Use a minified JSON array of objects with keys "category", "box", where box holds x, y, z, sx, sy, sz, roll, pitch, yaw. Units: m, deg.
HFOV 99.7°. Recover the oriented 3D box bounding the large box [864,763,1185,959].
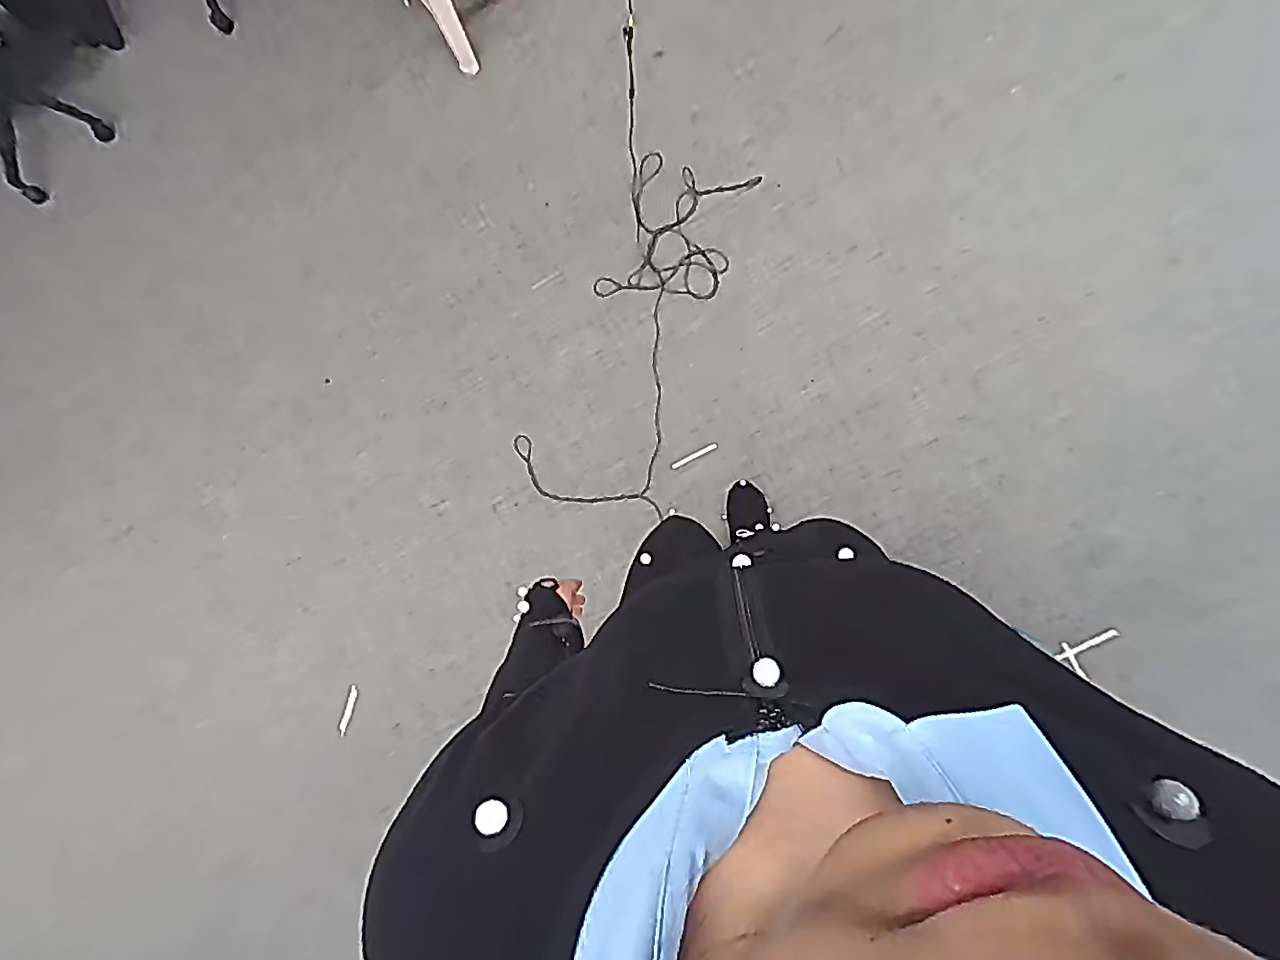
[{"category":"large box","box":[0.729,0.831,1.074,0.408,0.320,0.320,-21,86,8]}]
